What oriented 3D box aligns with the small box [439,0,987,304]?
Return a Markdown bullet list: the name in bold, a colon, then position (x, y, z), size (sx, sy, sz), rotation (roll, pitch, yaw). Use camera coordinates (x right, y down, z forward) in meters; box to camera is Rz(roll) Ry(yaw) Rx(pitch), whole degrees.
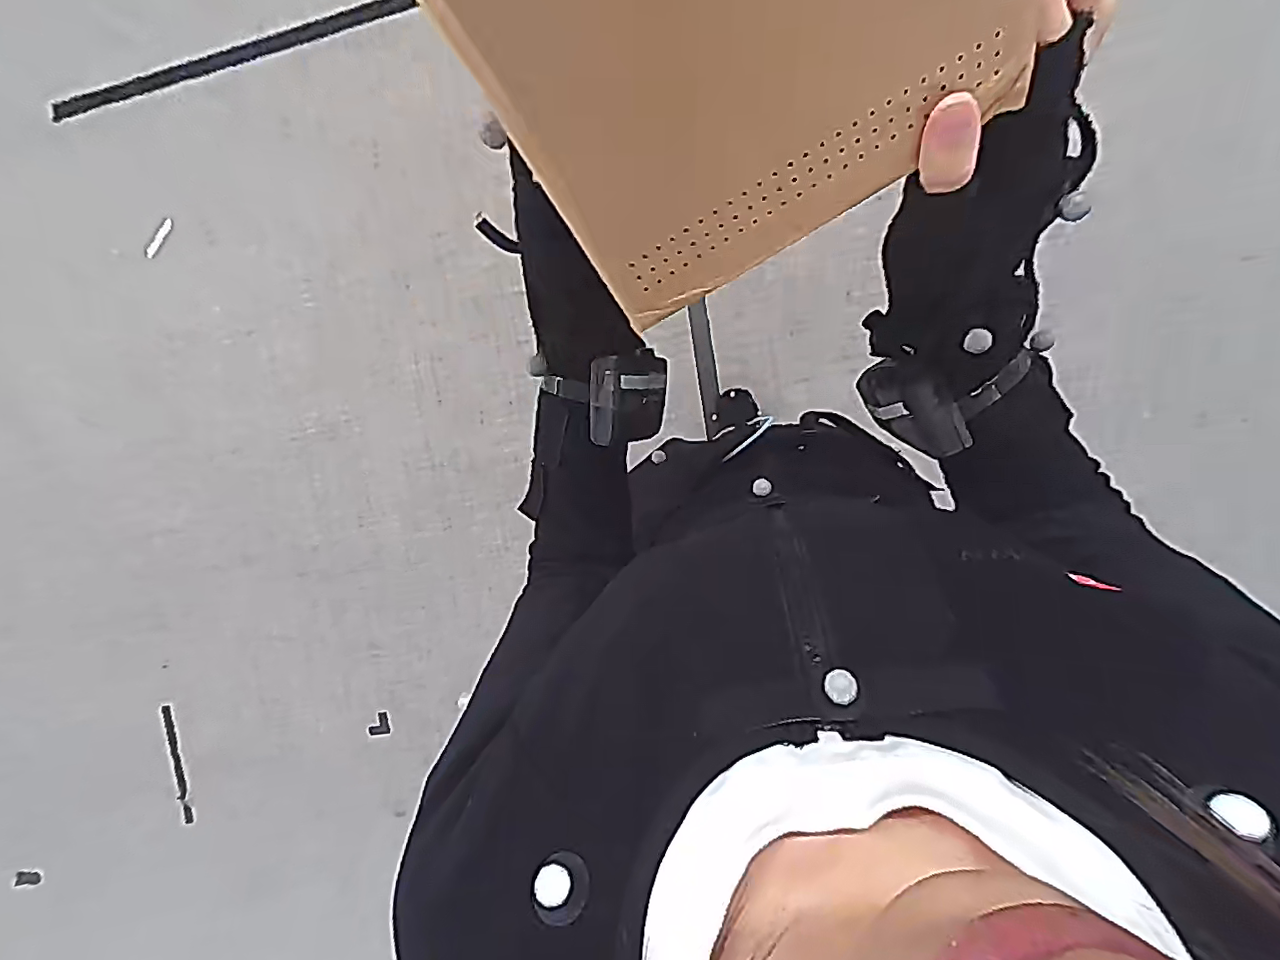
- **small box**: position (0.022, -0.214, 0.237), size (0.179, 0.176, 0.168), rotation (-28, 49, 13)
